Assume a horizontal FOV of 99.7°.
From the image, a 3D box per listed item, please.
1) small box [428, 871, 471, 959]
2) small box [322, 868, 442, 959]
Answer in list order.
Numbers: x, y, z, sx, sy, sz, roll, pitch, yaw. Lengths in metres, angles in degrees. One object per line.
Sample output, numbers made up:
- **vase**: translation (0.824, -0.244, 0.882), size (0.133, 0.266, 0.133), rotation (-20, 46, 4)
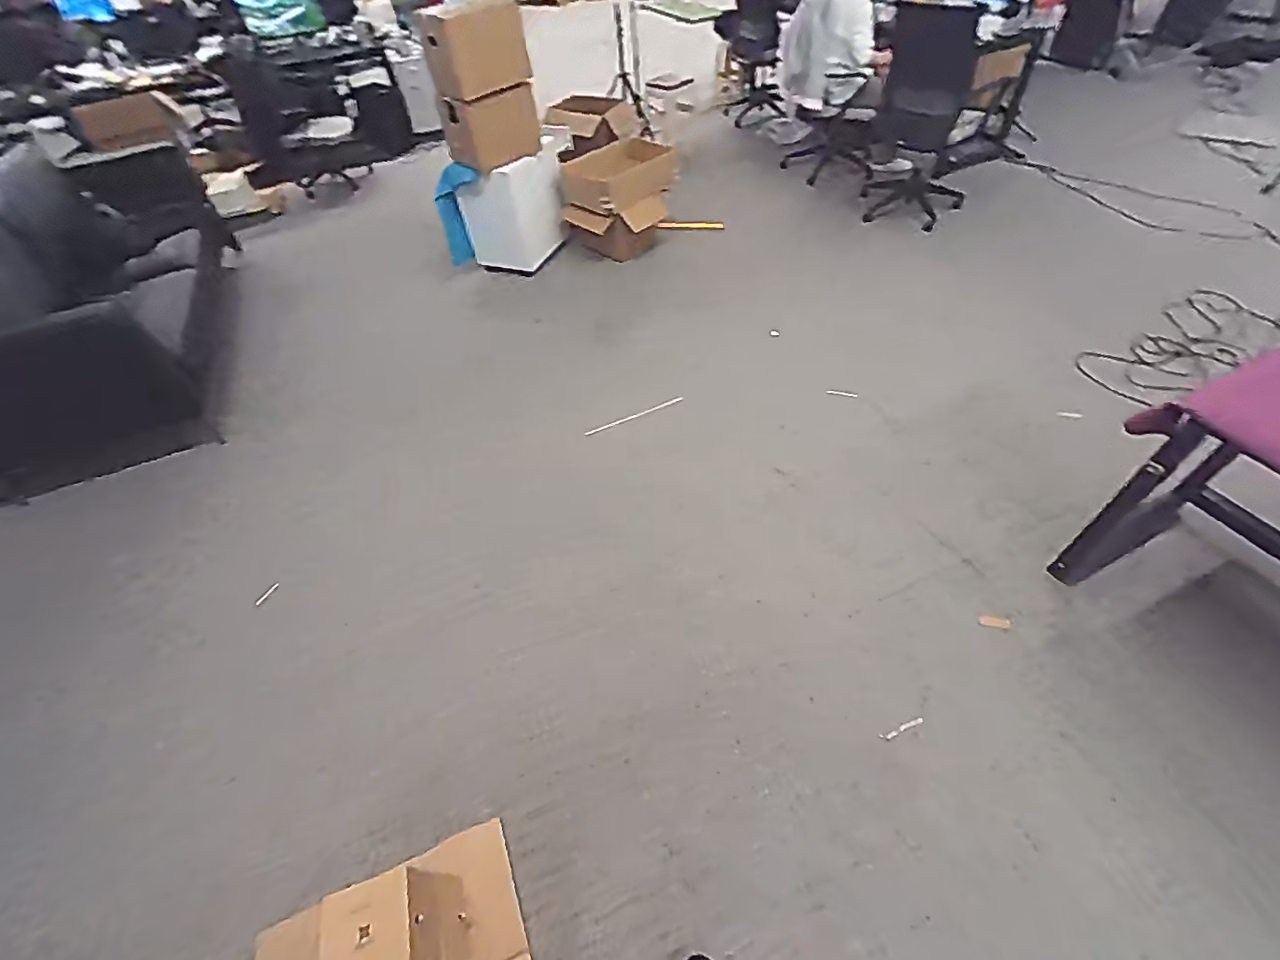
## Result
- **small box**: translation (-0.494, 1.018, 1.211), size (0.168, 0.176, 0.179), rotation (-19, 51, -9)
- **small box**: translation (-0.511, 0.914, 1.085), size (0.168, 0.176, 0.179), rotation (-17, 50, -8)
